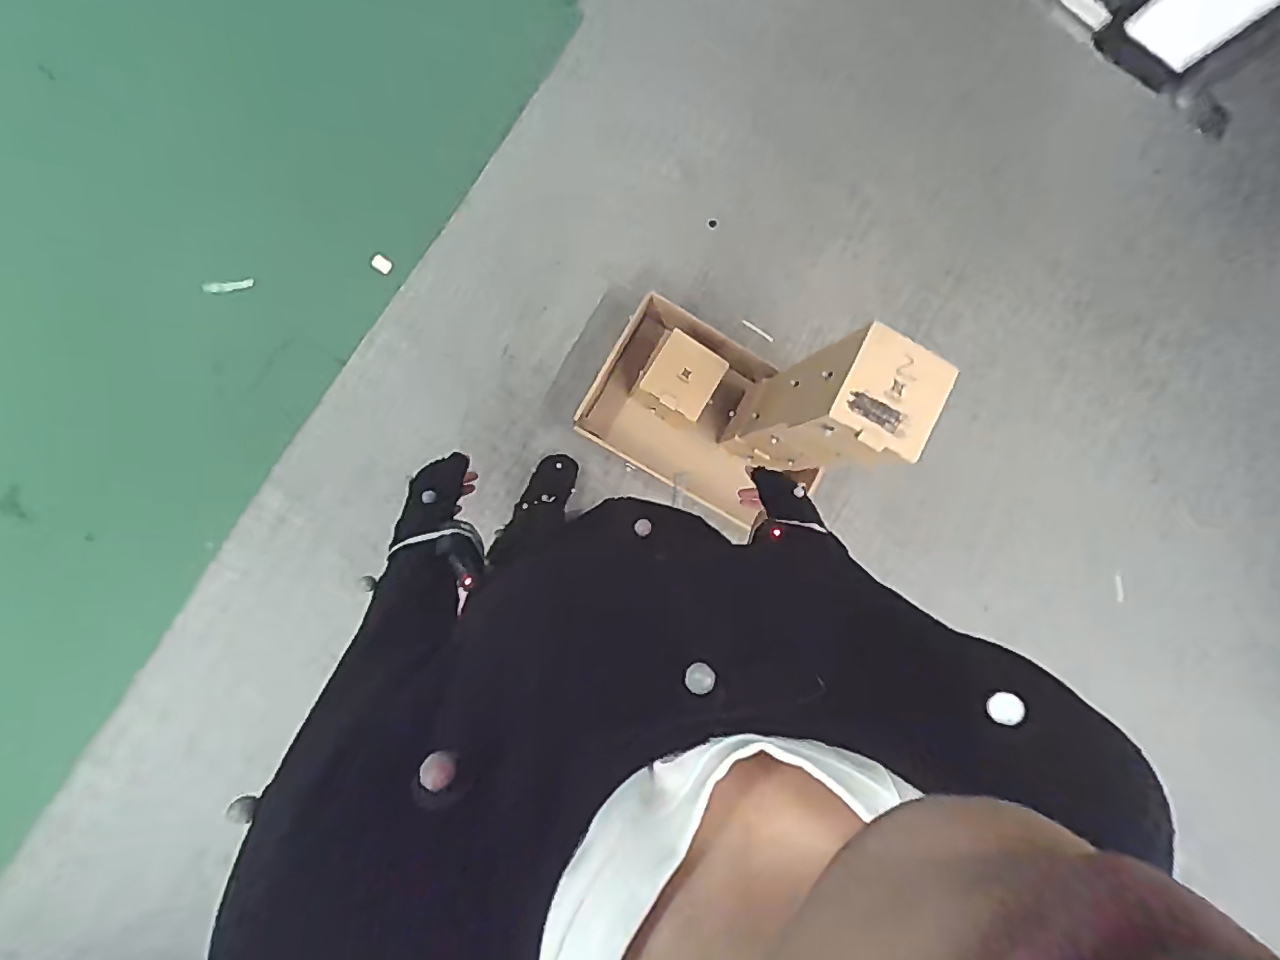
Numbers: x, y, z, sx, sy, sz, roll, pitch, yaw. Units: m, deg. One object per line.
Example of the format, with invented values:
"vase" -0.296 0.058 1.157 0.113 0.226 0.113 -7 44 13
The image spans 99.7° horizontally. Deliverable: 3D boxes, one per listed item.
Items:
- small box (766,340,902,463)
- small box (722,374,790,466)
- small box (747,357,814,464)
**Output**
"small box" 0.377 -0.146 1.090 0.168 0.176 0.179 31 85 -6
"small box" 0.329 -0.148 1.415 0.168 0.176 0.179 26 85 -4
"small box" 0.364 -0.147 1.237 0.168 0.176 0.179 30 85 -5
